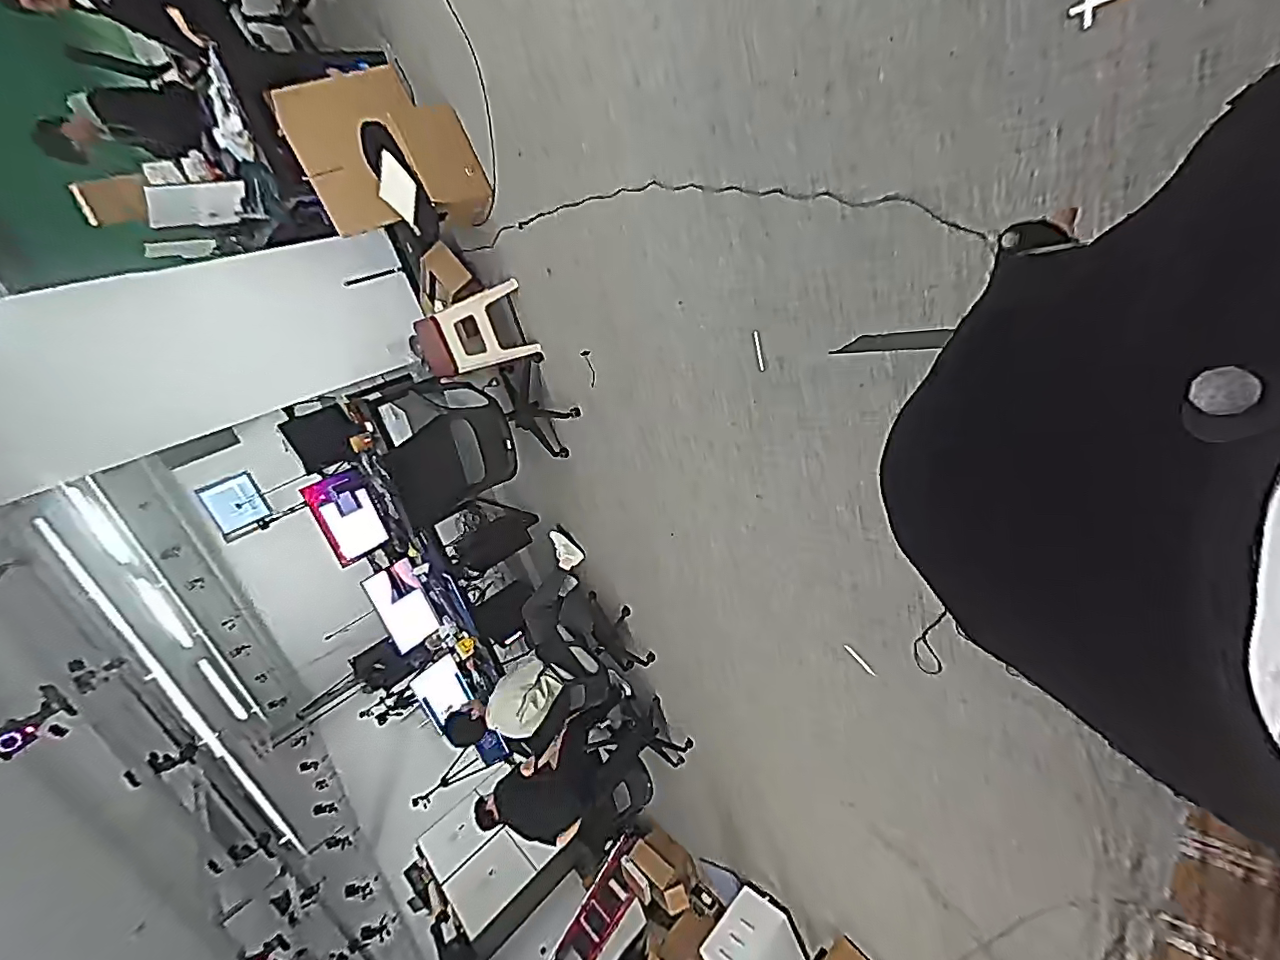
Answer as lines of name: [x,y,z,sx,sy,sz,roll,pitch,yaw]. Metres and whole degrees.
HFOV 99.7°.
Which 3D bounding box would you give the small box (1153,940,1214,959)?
small box: [1.191,1.127,1.131,0.179,0.176,0.168,0,113,54]
